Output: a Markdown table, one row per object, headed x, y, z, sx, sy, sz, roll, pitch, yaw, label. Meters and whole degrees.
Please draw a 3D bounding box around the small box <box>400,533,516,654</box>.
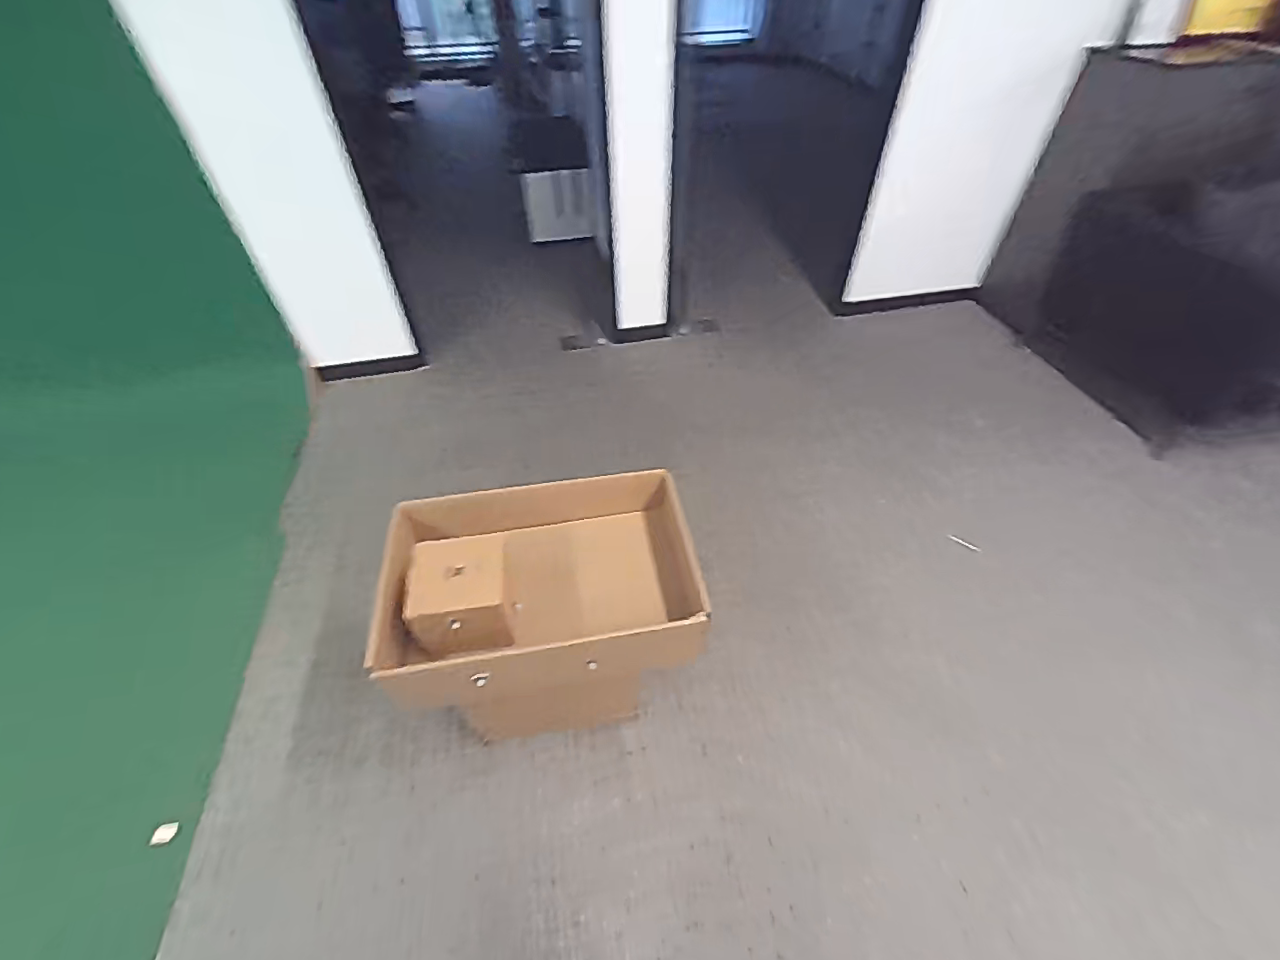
| x | y | z | sx | sy | sz | roll | pitch | yaw | label |
| --- | --- | --- | --- | --- | --- | --- | --- | --- | --- |
| -0.353 | 0.230 | 1.083 | 0.179 | 0.176 | 0.168 | -8 | 48 | -5 | small box |
